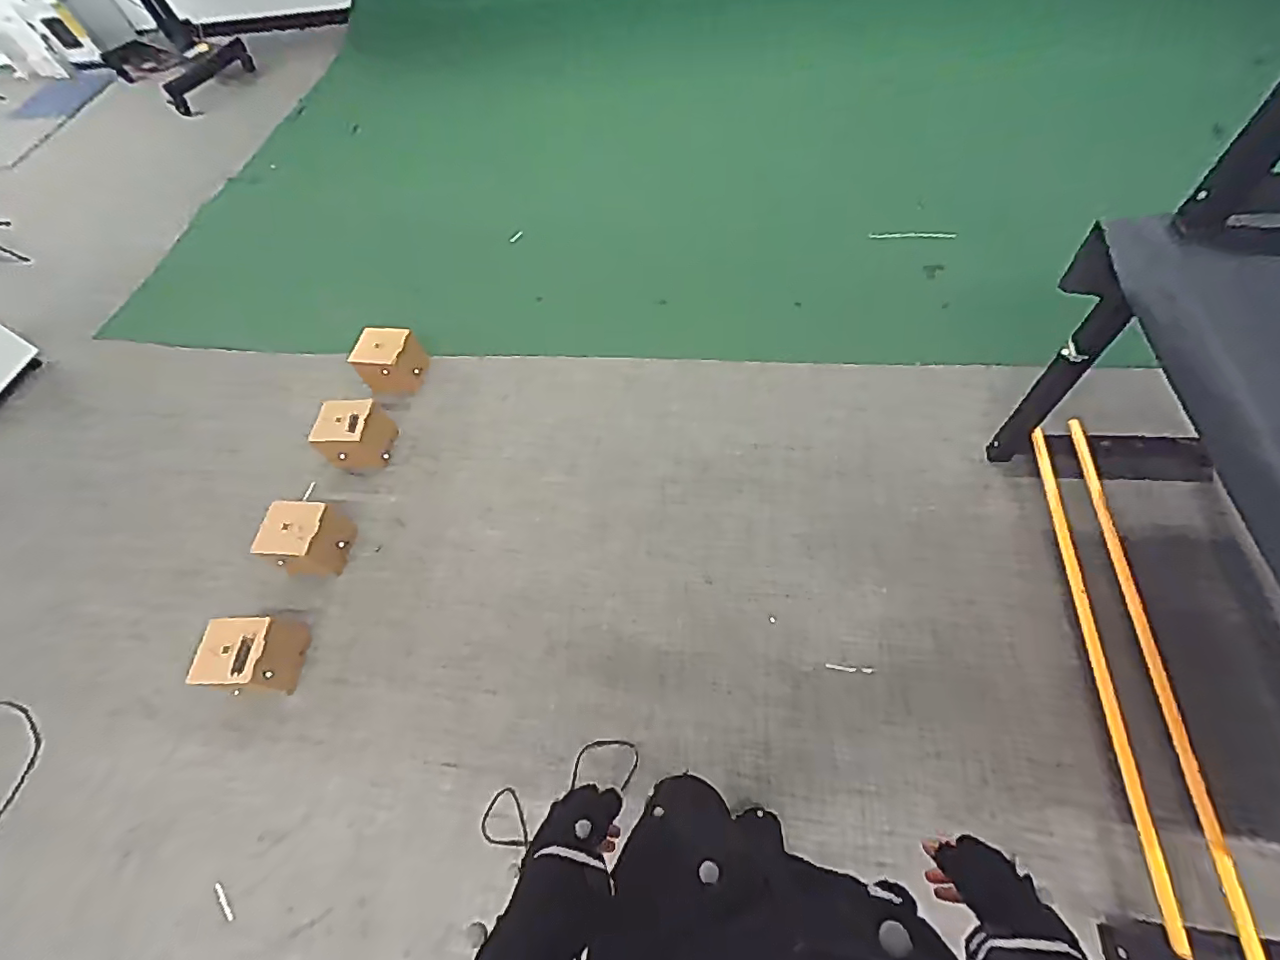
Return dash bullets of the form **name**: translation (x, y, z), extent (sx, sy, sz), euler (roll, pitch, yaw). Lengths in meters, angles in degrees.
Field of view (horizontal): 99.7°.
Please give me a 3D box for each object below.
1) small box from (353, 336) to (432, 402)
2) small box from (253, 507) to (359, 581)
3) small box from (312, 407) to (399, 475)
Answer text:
- **small box**: translation (-0.892, -0.401, 1.964), extent (0.179, 0.176, 0.168), euler (5, 60, 9)
- **small box**: translation (-0.983, 0.193, 1.606), extent (0.179, 0.176, 0.168), euler (2, 60, 8)
- **small box**: translation (-0.935, -0.126, 1.798), extent (0.179, 0.176, 0.168), euler (-1, 58, 7)
